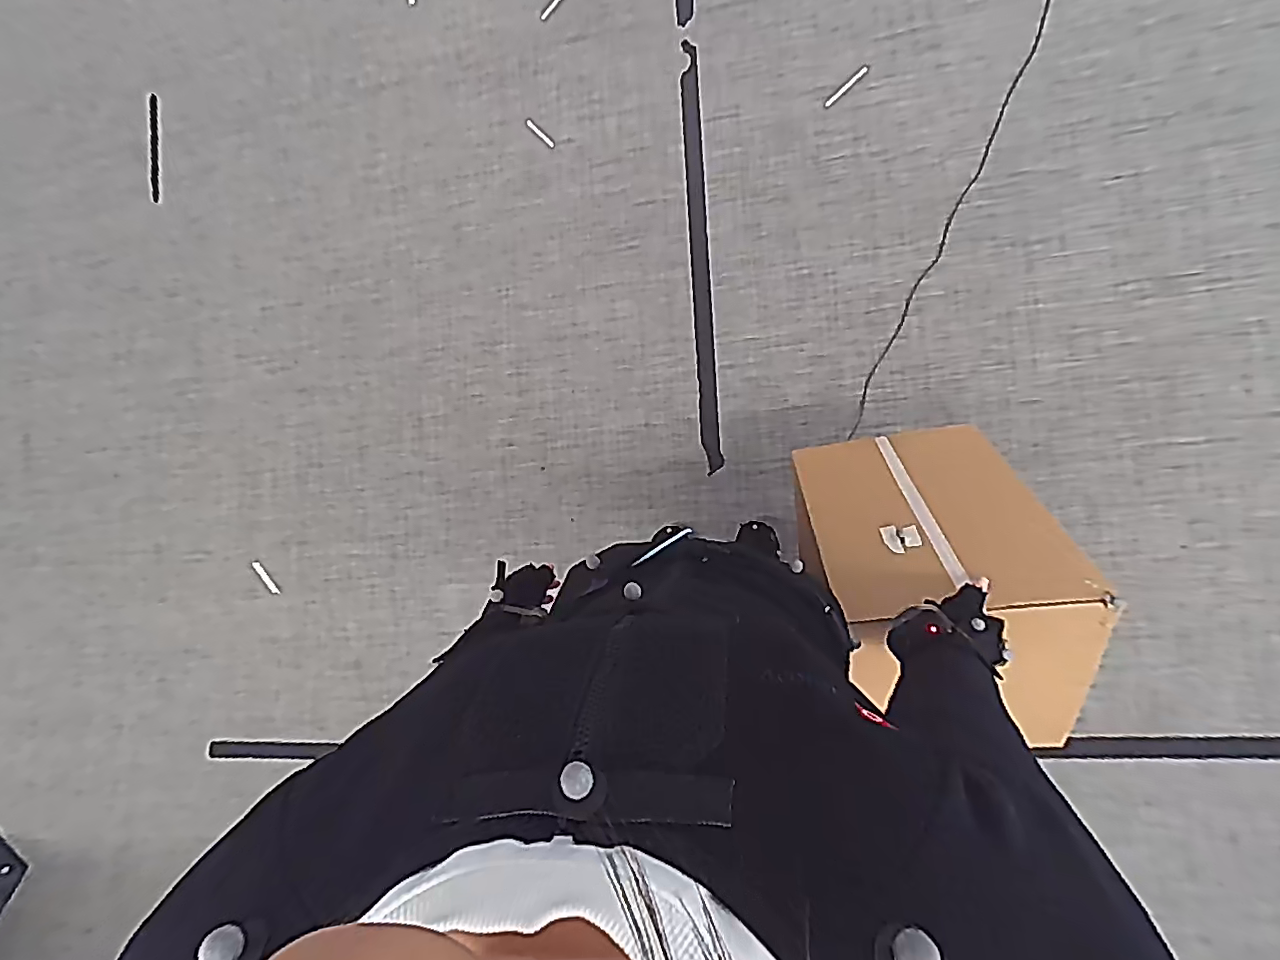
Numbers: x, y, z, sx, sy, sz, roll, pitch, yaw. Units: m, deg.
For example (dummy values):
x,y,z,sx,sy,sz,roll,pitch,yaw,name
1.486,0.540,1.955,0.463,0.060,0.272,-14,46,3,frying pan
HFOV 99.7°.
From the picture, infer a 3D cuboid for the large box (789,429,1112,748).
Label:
x,y,z,sx,sy,sz,roll,pitch,yaw,name
0.442,0.165,0.890,0.320,0.408,0.320,-9,125,12,large box
